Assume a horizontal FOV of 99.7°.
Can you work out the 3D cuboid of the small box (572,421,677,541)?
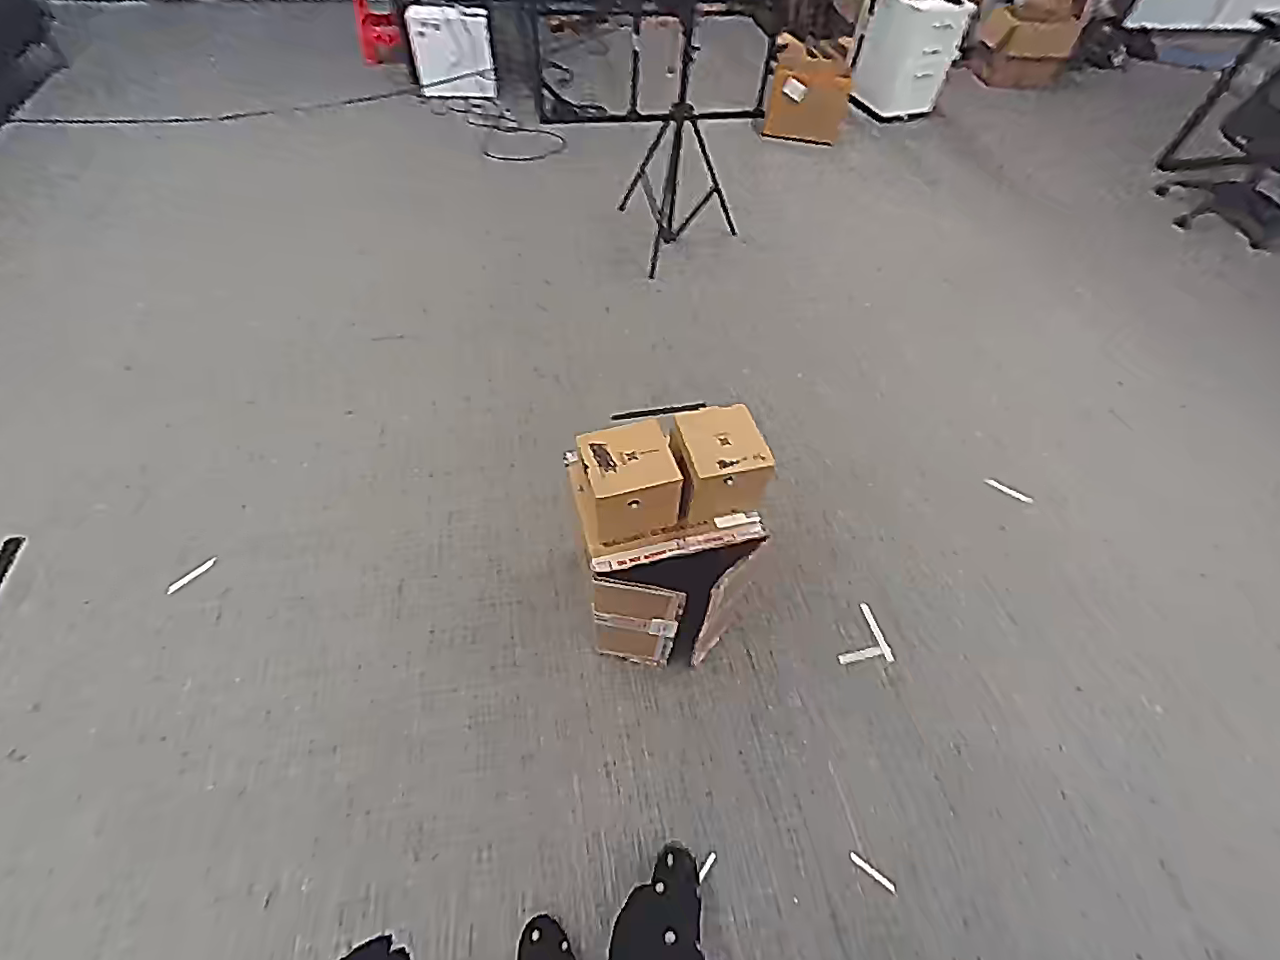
[{"bbox_3d":[-0.033,0.007,1.126,0.179,0.176,0.168,-14,55,-12],"label":"small box"}]

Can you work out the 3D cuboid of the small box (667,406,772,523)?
[{"bbox_3d":[0.157,-0.032,1.168,0.168,0.176,0.179,-10,54,-13],"label":"small box"}]
